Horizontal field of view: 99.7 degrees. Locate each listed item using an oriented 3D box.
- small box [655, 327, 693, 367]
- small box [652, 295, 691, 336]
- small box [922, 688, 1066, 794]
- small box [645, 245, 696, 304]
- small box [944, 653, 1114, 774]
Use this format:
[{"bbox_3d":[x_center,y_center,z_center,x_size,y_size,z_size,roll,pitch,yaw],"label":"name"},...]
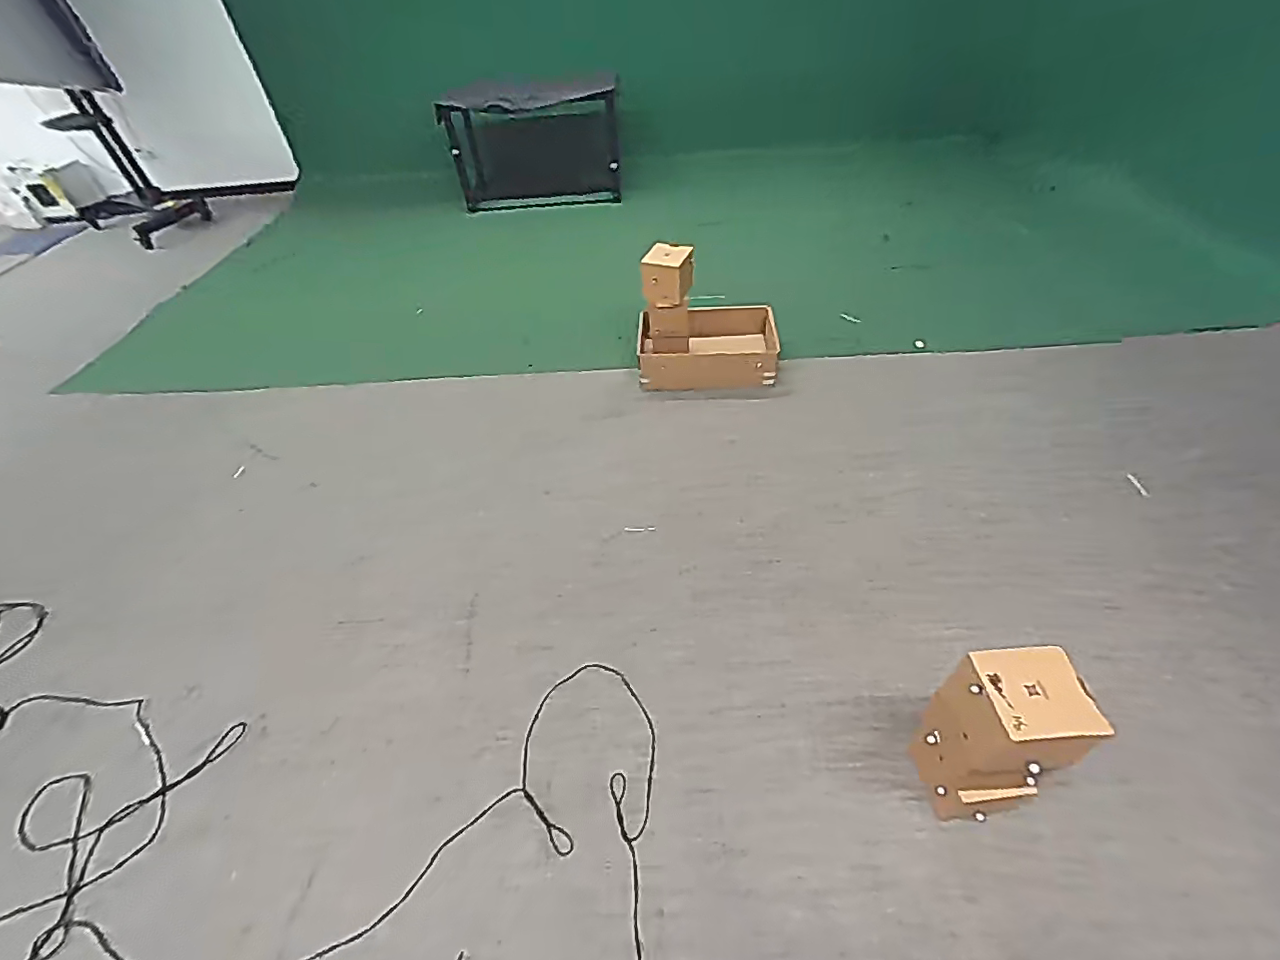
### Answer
[{"bbox_3d":[0.155,-0.643,2.504,0.168,0.176,0.179,-3,47,3],"label":"small box"},{"bbox_3d":[0.139,-0.748,2.379,0.168,0.176,0.179,-1,46,3],"label":"small box"},{"bbox_3d":[0.738,0.554,1.151,0.179,0.176,0.168,-4,45,2],"label":"small box"},{"bbox_3d":[0.132,-0.854,2.256,0.168,0.176,0.179,15,49,18],"label":"small box"},{"bbox_3d":[0.721,0.446,1.029,0.179,0.176,0.168,-3,45,1],"label":"small box"}]
